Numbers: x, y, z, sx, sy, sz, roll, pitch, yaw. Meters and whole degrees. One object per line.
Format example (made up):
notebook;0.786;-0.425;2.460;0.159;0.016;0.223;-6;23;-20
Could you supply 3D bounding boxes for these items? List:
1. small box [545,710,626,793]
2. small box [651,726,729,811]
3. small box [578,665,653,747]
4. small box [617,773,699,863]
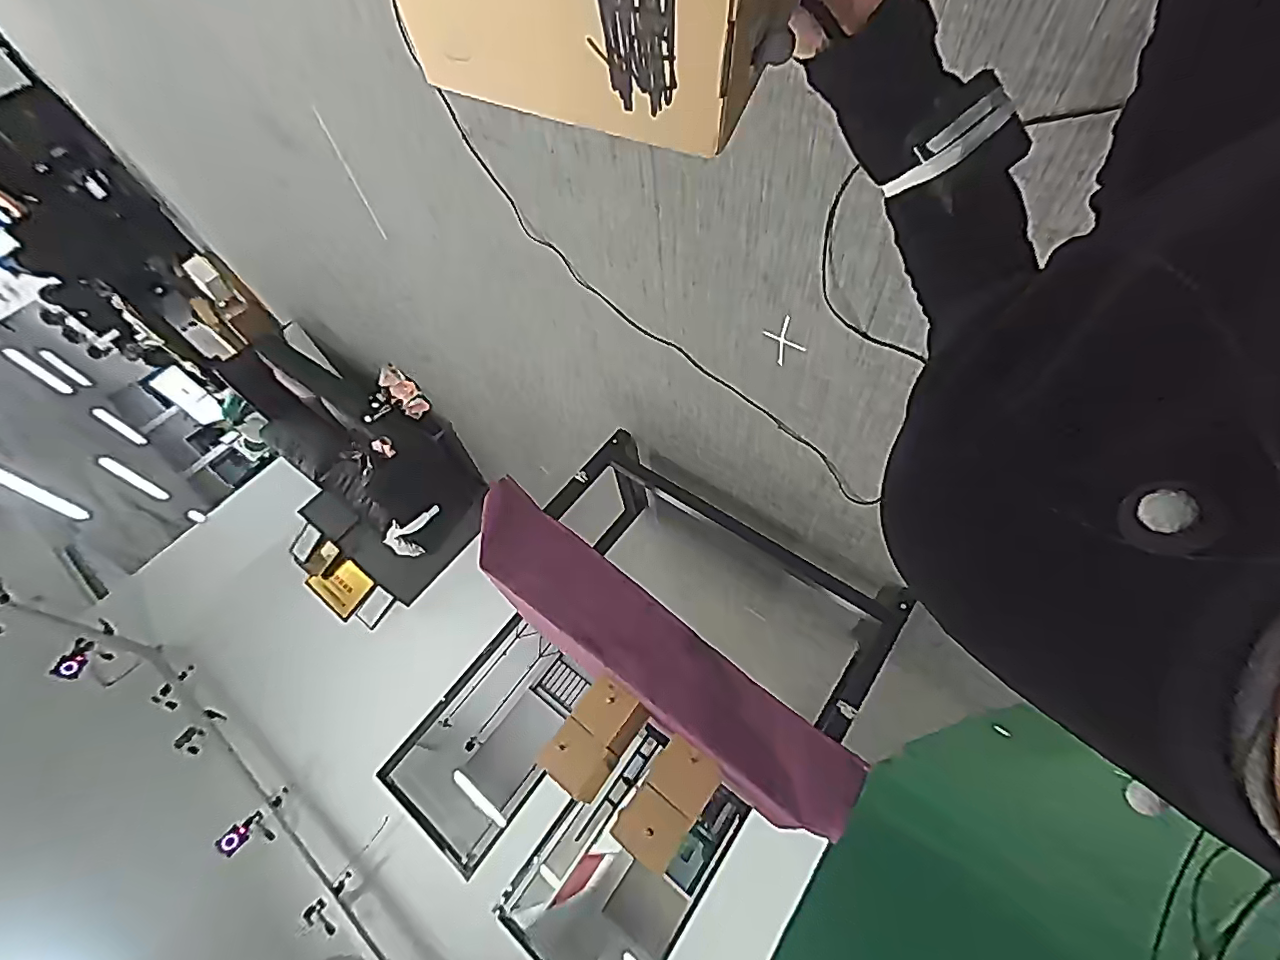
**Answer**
small box;-0.171;0.871;1.750;0.179;0.176;0.168;28;156;29
small box;0.159;0.892;1.684;0.179;0.176;0.168;30;157;26
small box;-0.074;0.756;1.813;0.168;0.176;0.179;27;154;30
small box;0.058;1.008;1.625;0.179;0.176;0.168;29;156;25
